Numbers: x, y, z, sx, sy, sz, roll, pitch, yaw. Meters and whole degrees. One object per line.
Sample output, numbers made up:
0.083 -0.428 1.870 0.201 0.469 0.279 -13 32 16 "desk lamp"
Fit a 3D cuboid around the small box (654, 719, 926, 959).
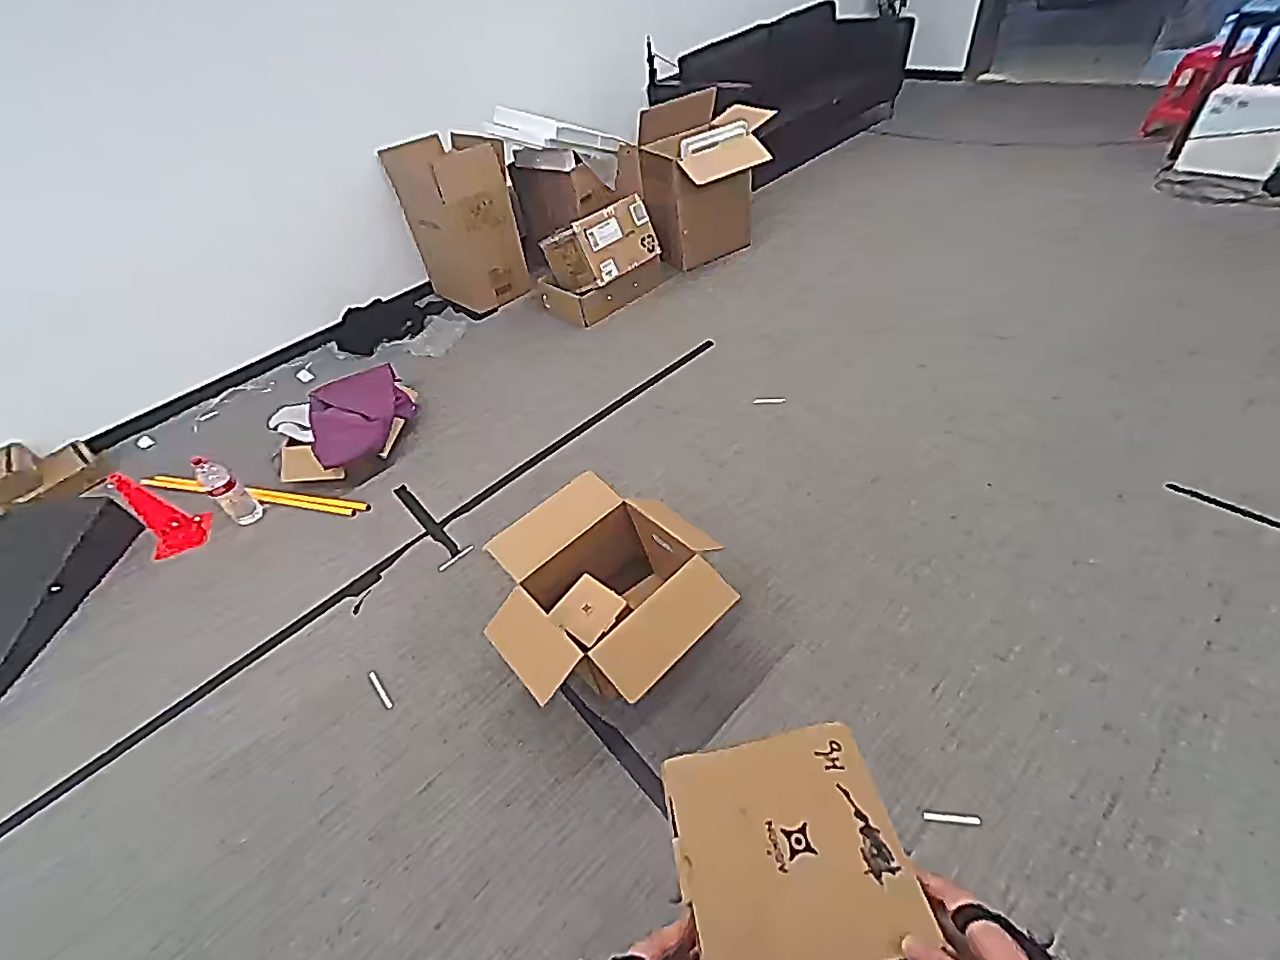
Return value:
0.119 0.351 0.495 0.179 0.176 0.168 -11 43 -4 "small box"
